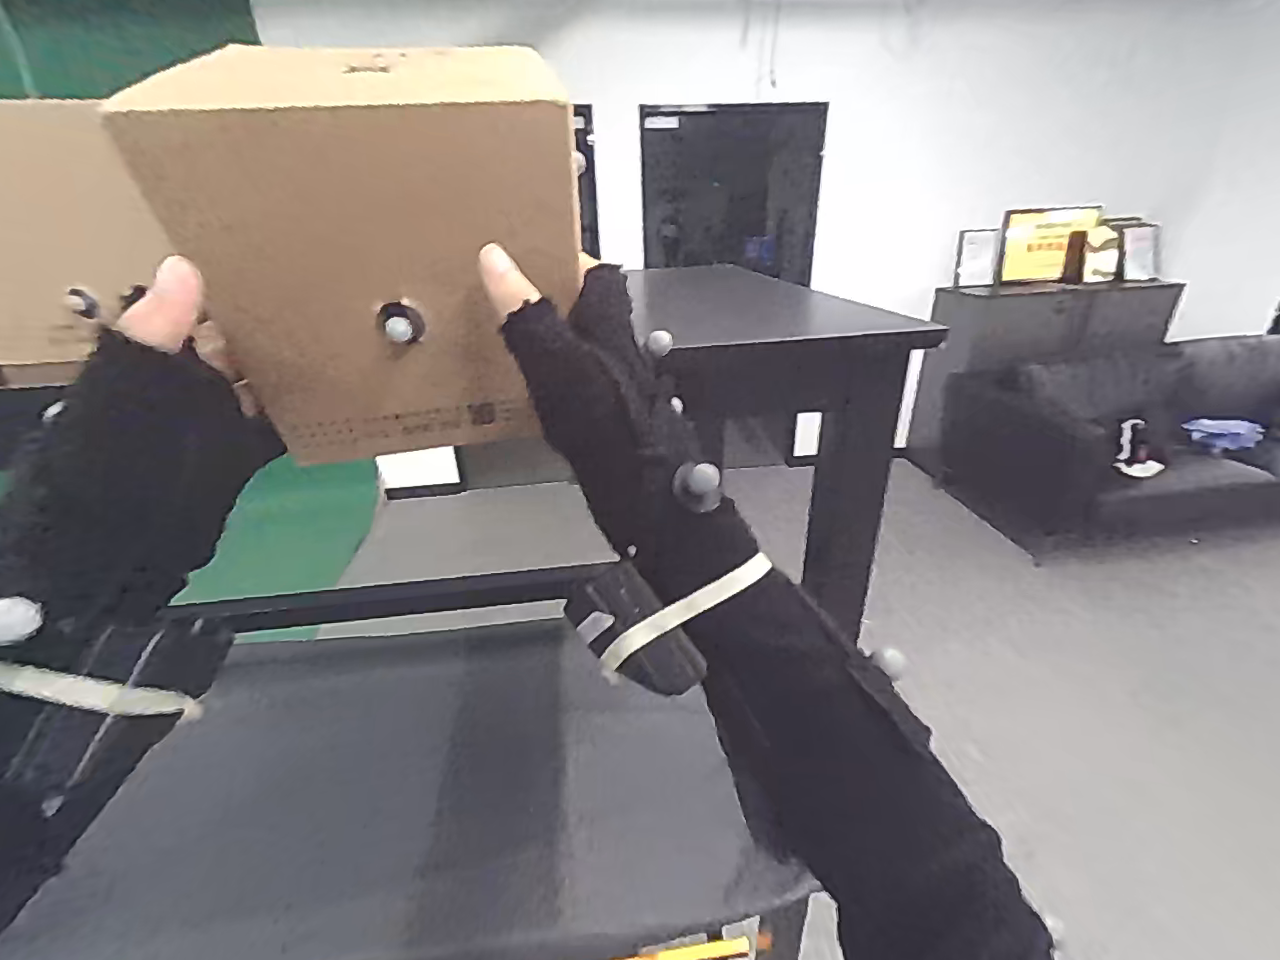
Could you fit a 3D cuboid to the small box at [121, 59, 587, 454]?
[{"bbox_3d":[-0.127,-0.129,0.319,0.168,0.176,0.179,-9,45,-11],"label":"small box"}]
